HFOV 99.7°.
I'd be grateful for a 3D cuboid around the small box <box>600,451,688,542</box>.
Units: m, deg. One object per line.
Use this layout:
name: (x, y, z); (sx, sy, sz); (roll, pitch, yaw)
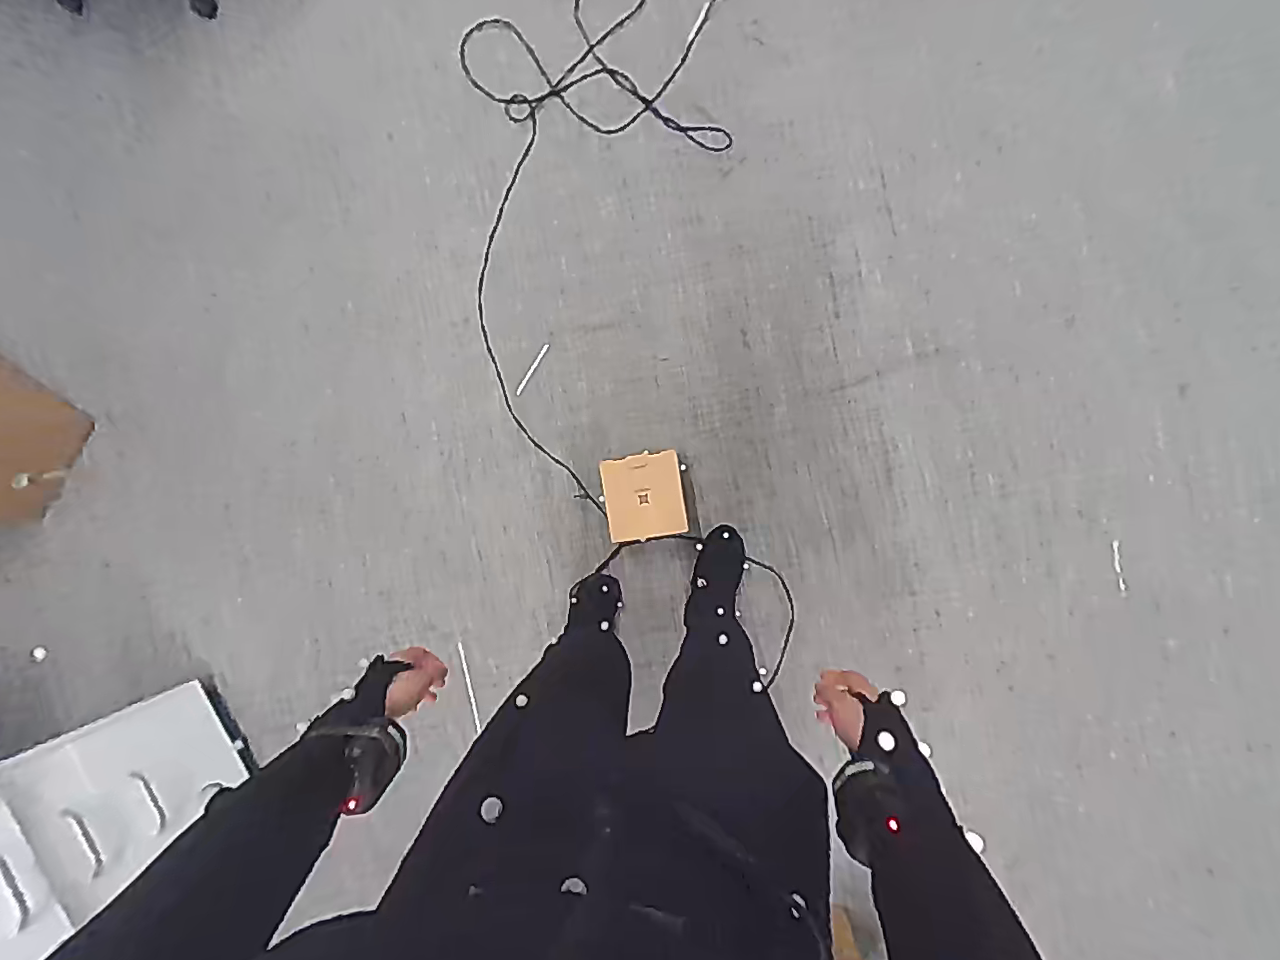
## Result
small box: (0.015, 0.033, 1.207); (0.168, 0.176, 0.179); (-9, 90, 5)
